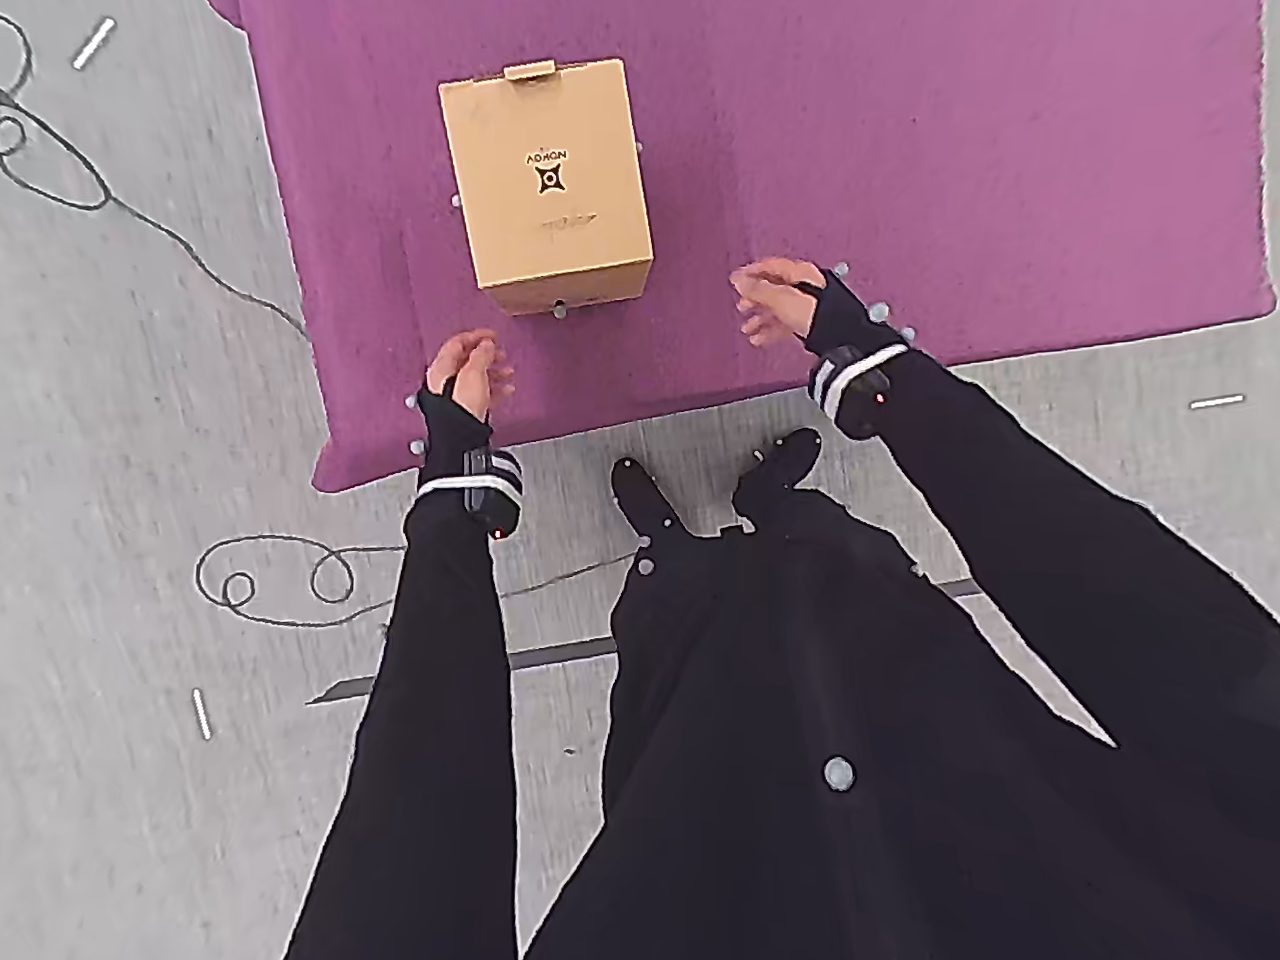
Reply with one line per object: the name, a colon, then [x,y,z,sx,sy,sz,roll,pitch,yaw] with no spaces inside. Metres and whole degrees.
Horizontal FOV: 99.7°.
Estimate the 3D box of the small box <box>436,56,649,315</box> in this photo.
small box: [-0.089,-0.283,0.557,0.168,0.176,0.179,-10,98,-2]
